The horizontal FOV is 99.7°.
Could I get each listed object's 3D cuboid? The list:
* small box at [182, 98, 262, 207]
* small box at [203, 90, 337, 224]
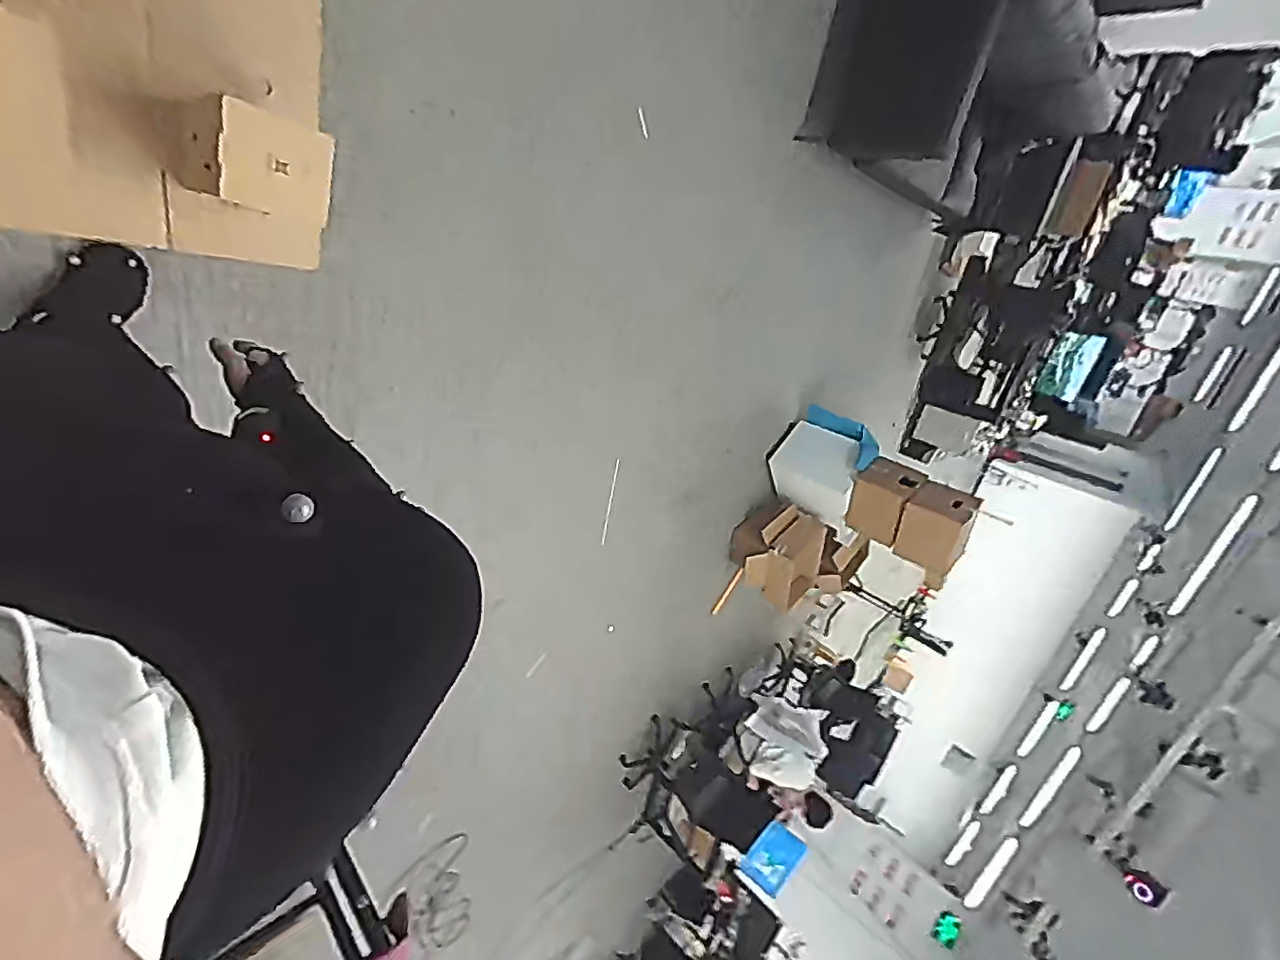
[{"bbox_3d":[-0.824,-0.671,1.128,0.179,0.176,0.168,-7,119,-48],"label":"small box"},{"bbox_3d":[-0.709,-0.608,1.030,0.179,0.176,0.168,-4,117,-49],"label":"small box"}]
